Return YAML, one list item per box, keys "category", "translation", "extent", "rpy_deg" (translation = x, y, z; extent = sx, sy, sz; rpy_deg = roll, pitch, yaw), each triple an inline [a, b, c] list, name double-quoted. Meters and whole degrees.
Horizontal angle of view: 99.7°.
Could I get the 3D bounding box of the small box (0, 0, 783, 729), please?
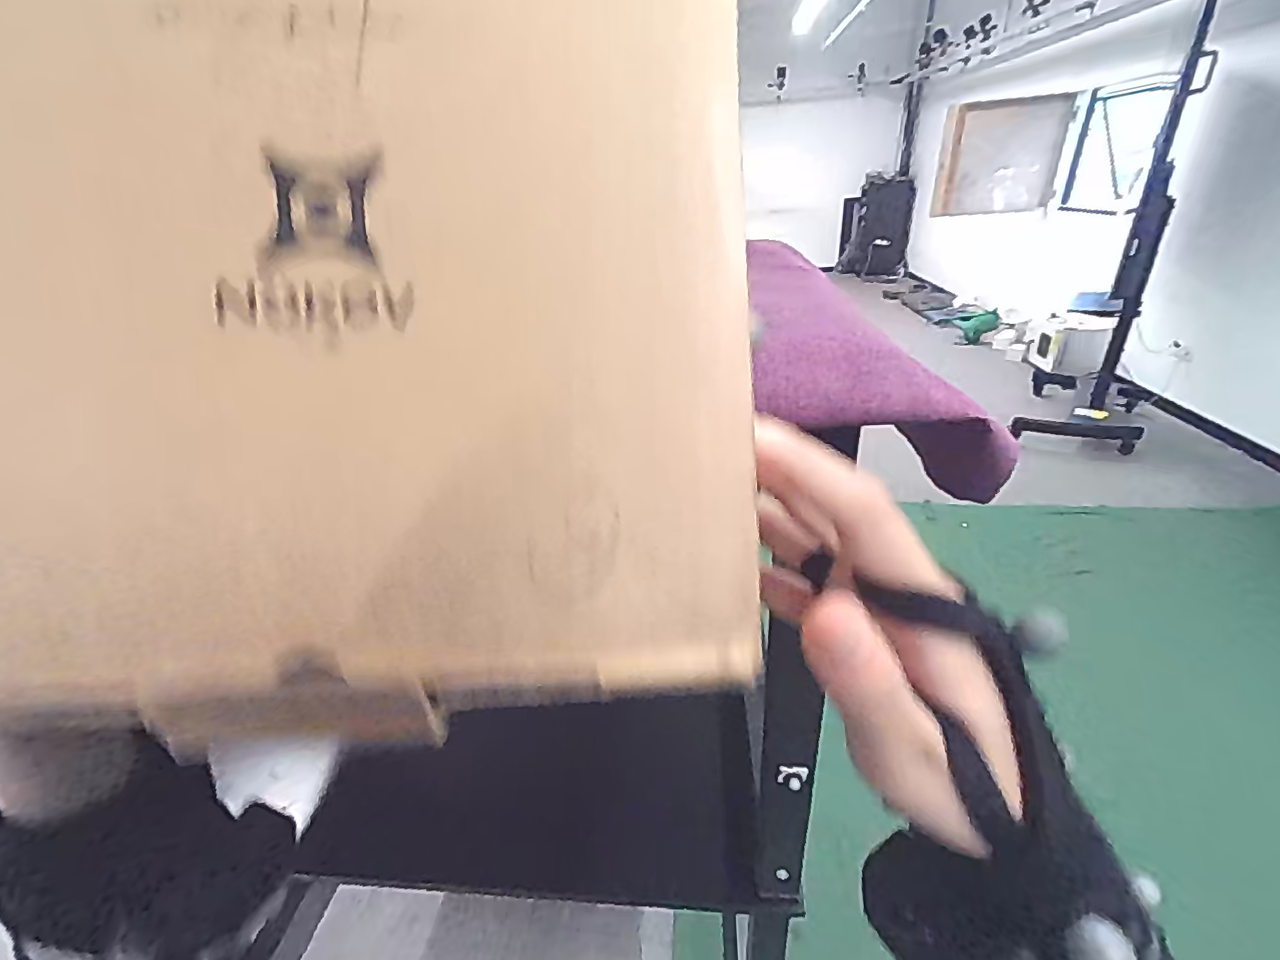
- category: "small box"
  translation: [-0.061, -0.038, 0.181]
  extent: [0.168, 0.179, 0.176]
  rpy_deg: [-1, -6, -5]
